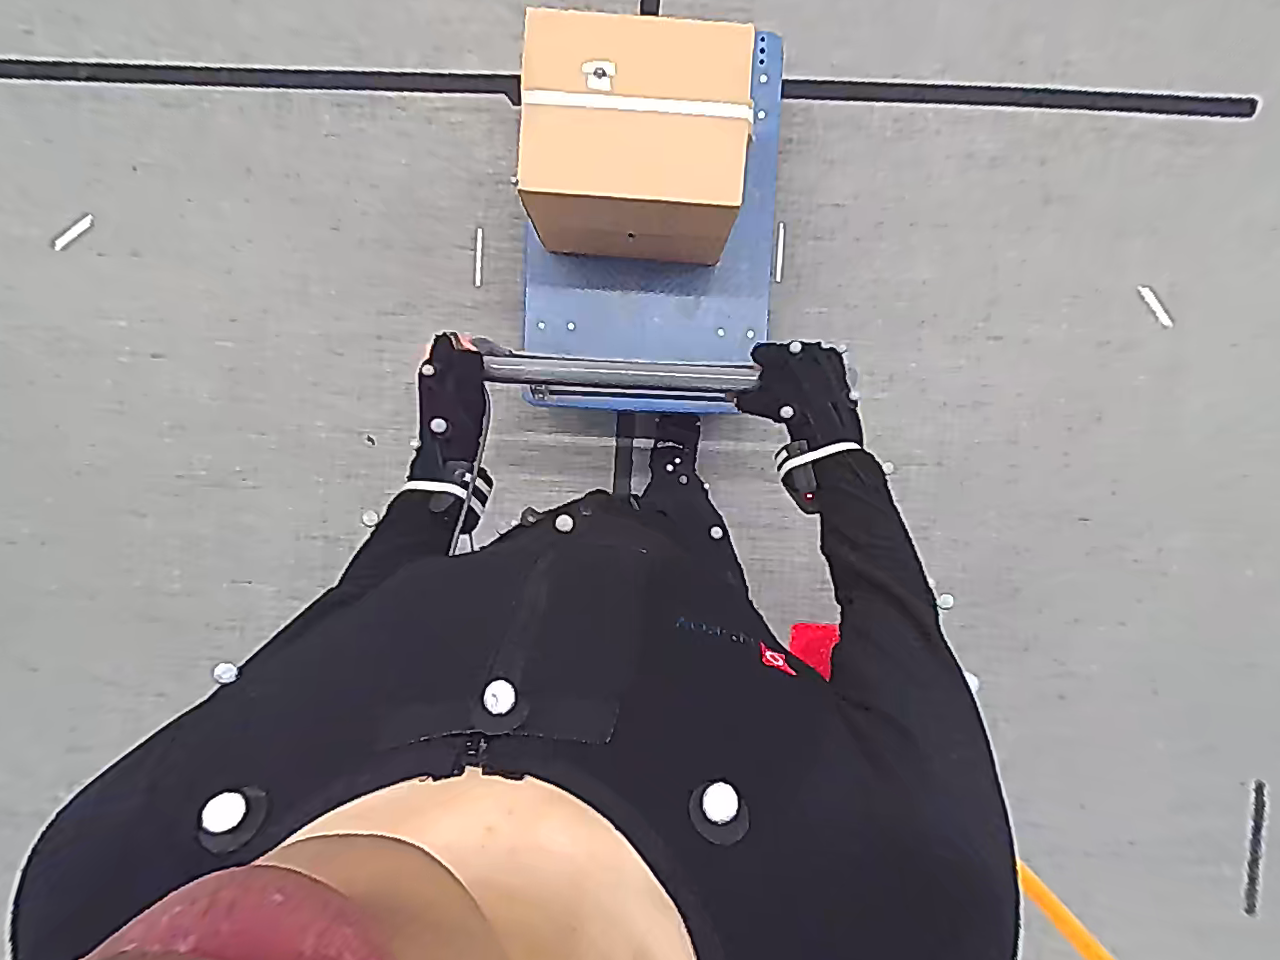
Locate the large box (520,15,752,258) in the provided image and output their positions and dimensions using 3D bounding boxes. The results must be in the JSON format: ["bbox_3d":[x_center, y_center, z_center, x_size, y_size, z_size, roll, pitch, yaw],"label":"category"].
[{"bbox_3d":[-0.005,-0.666,1.106,0.408,0.320,0.320,4,93,1],"label":"large box"}]

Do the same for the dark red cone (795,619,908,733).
[{"bbox_3d":[0.523,0.488,1.293,0.201,0.394,0.202,3,94,-2],"label":"dark red cone"}]
